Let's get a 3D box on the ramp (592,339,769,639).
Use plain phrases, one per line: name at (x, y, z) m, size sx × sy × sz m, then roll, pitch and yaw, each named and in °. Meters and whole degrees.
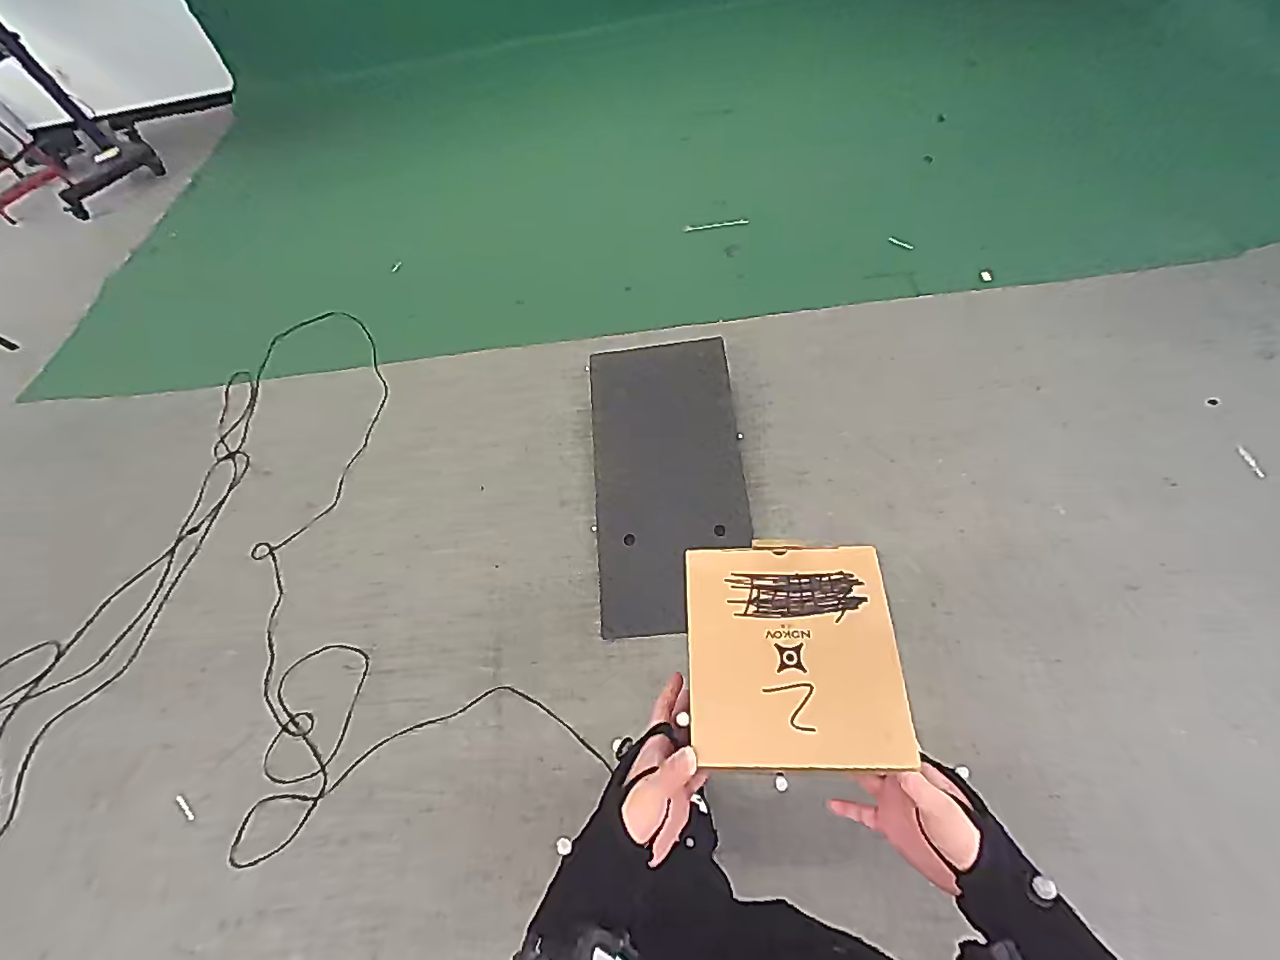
ramp at (0.102, -0.016, 1.763) m, size 0.509 × 0.206 × 0.991 m, roll -7°, pitch 58°, yaw 3°
